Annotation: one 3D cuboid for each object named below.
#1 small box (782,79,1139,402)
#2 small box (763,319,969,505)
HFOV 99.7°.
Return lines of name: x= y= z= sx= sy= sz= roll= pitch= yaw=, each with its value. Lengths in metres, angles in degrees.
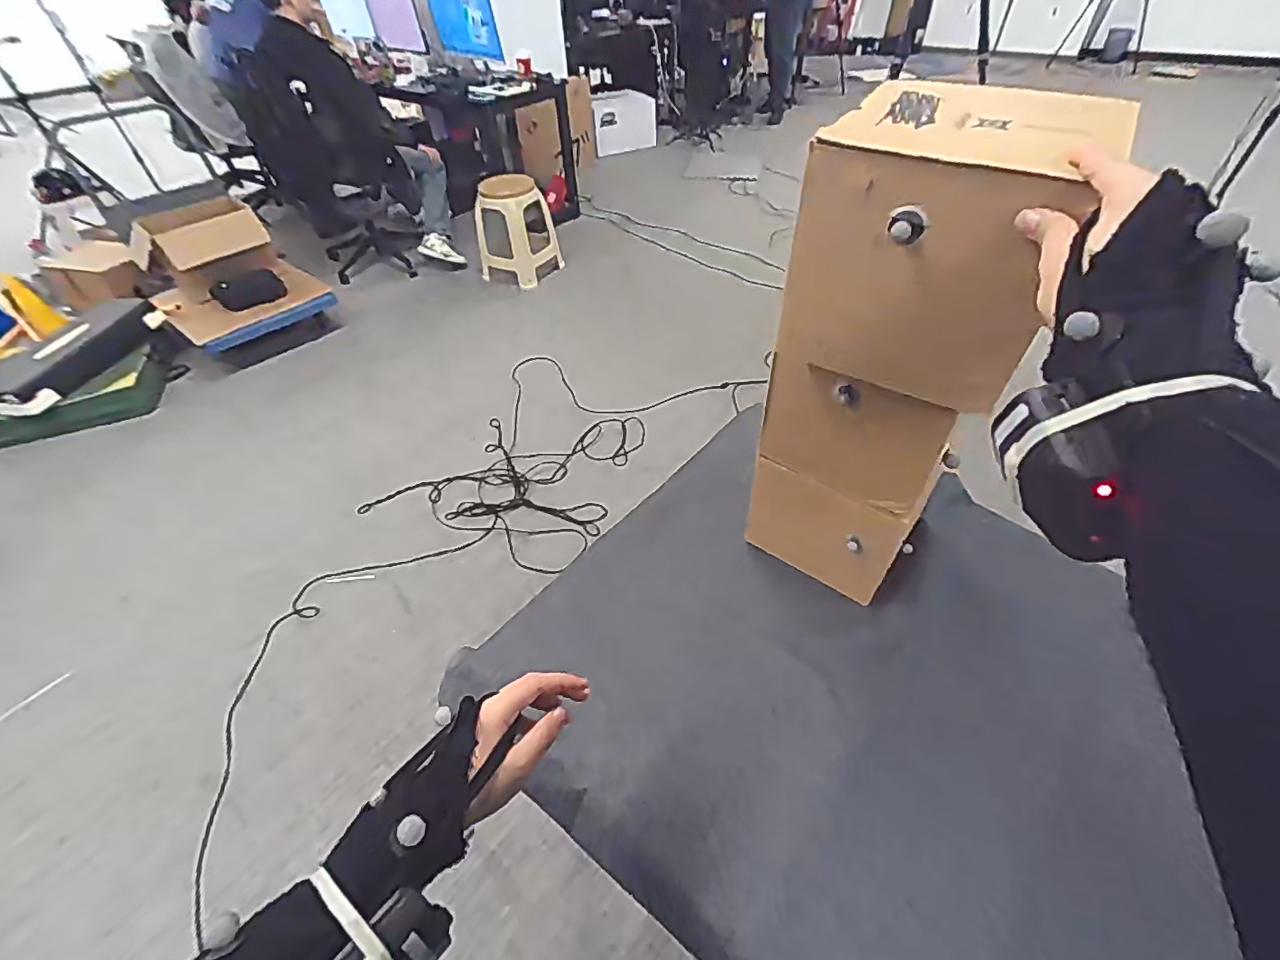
small box: x=0.229 y=-0.187 z=0.422 sx=0.179 sy=0.176 sz=0.168 roll=26 pitch=55 yaw=23
small box: x=0.247 y=-0.102 z=0.570 sx=0.179 sy=0.176 sz=0.168 roll=28 pitch=57 yaw=25
